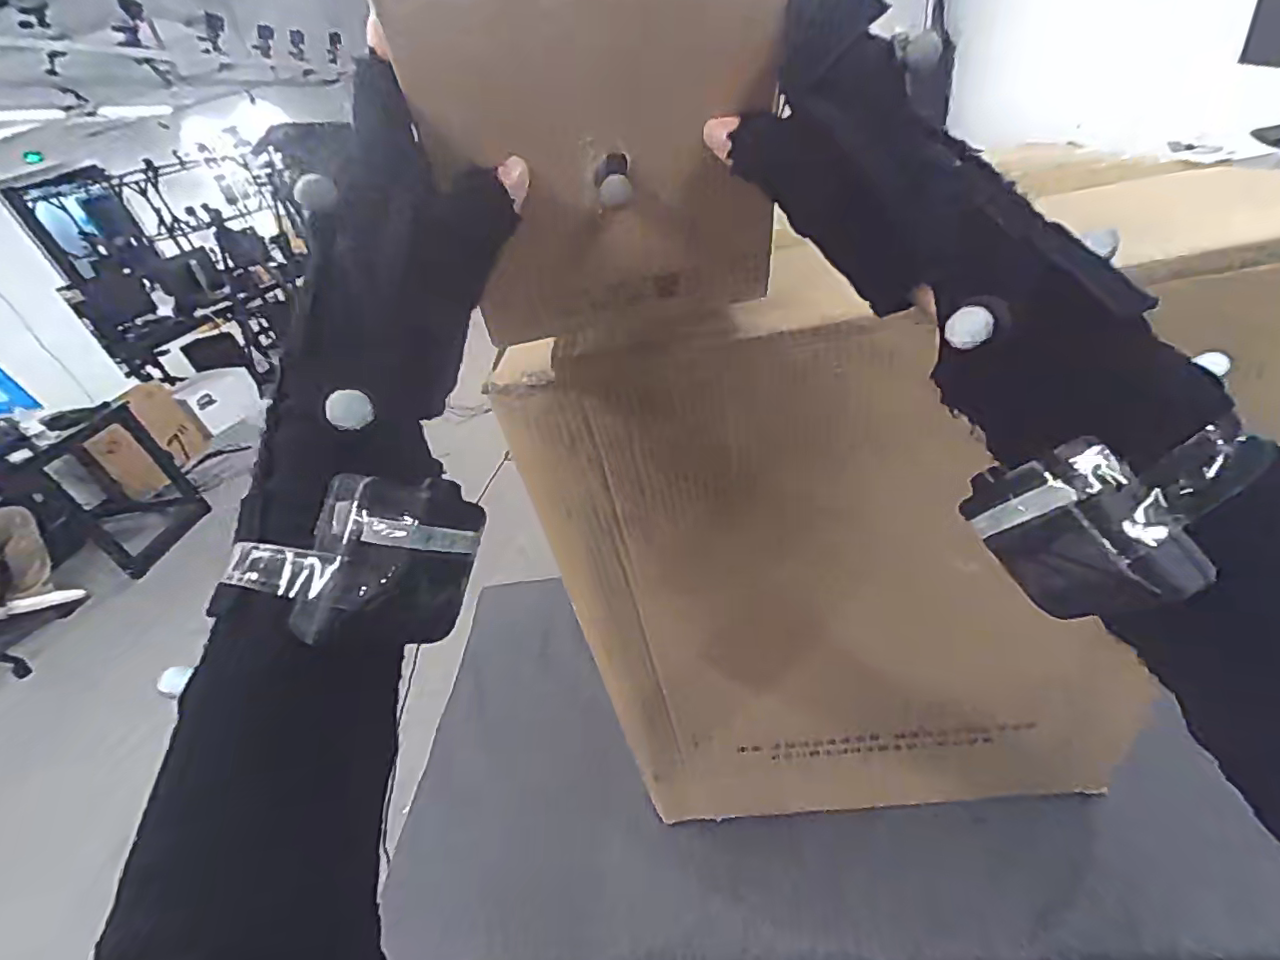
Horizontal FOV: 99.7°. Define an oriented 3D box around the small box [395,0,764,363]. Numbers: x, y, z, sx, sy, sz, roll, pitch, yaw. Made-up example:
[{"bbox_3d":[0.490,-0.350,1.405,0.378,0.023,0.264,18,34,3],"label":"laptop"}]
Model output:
[{"bbox_3d":[-0.027,-0.190,0.341,0.168,0.176,0.179,-13,46,-1],"label":"small box"}]
